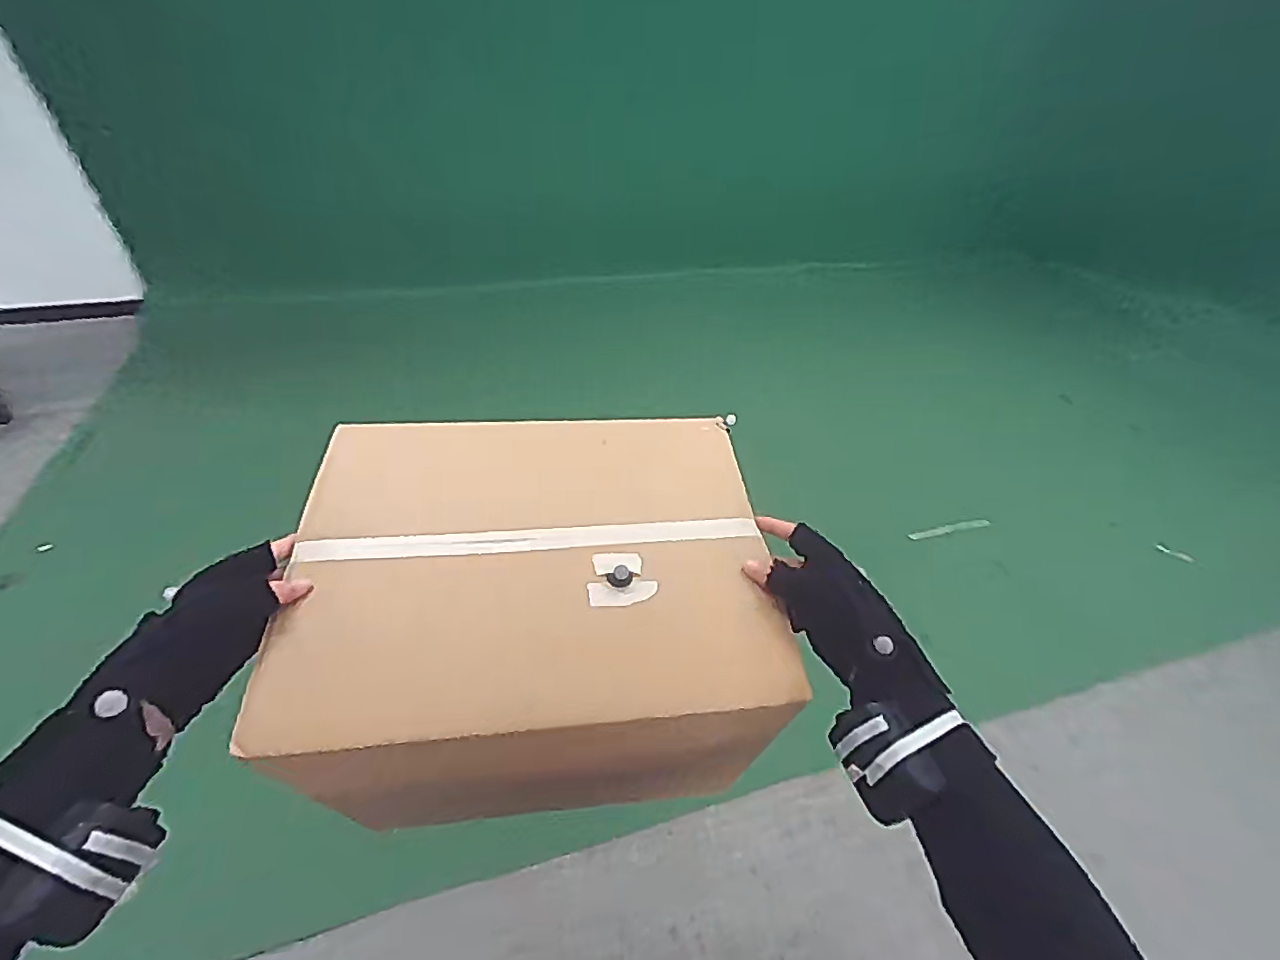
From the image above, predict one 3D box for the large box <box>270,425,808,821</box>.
[{"bbox_3d":[-0.093,0.154,0.604,0.408,0.320,0.320,-1,50,-8],"label":"large box"}]
